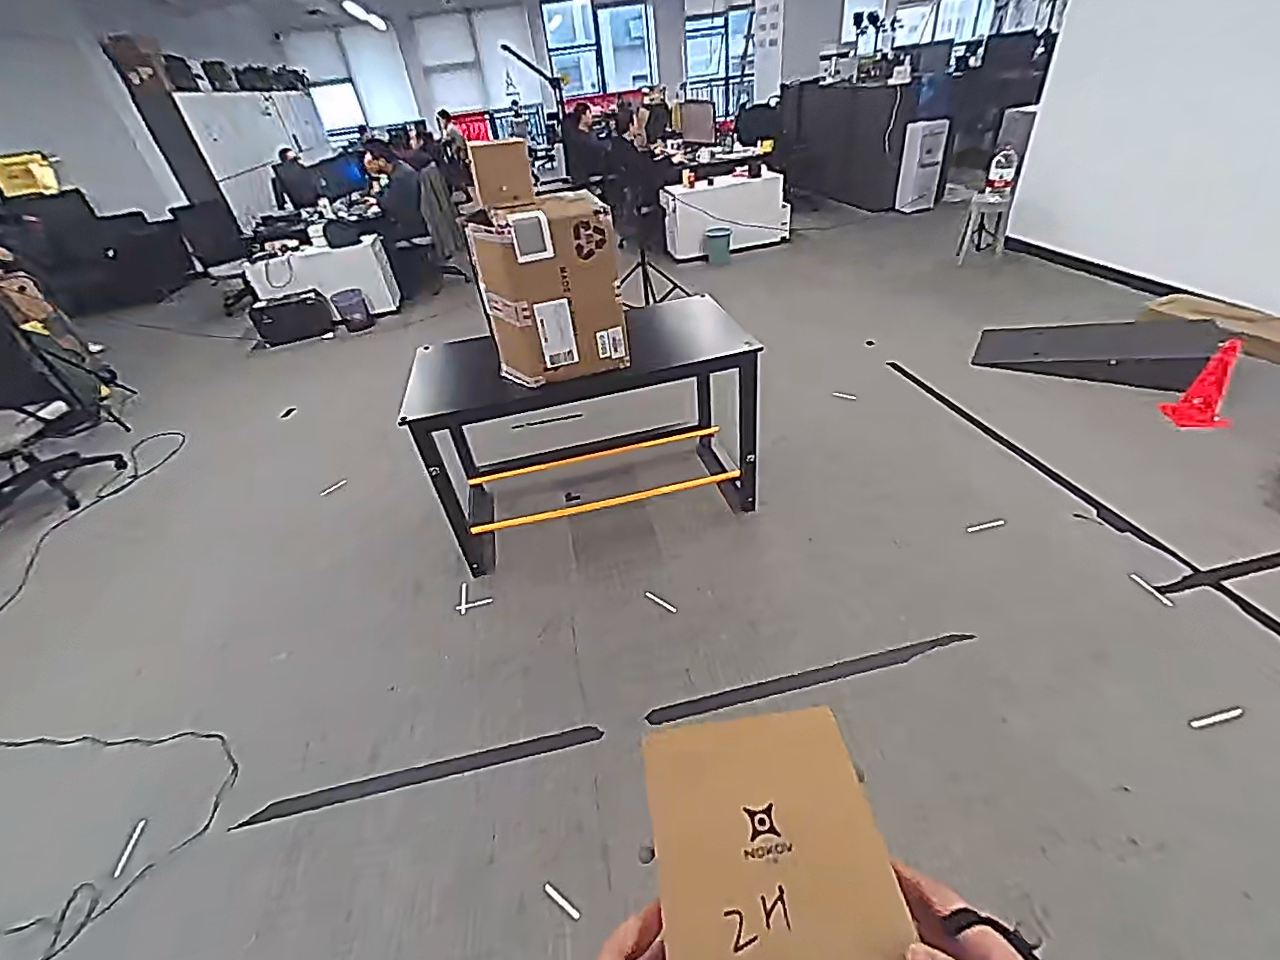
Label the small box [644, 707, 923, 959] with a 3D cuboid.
[{"bbox_3d":[0.099,0.323,0.454,0.168,0.176,0.179,-9,41,-1],"label":"small box"}]

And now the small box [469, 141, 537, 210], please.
[{"bbox_3d":[-0.424,-0.940,1.669,0.168,0.176,0.179,-14,36,-12],"label":"small box"}]
